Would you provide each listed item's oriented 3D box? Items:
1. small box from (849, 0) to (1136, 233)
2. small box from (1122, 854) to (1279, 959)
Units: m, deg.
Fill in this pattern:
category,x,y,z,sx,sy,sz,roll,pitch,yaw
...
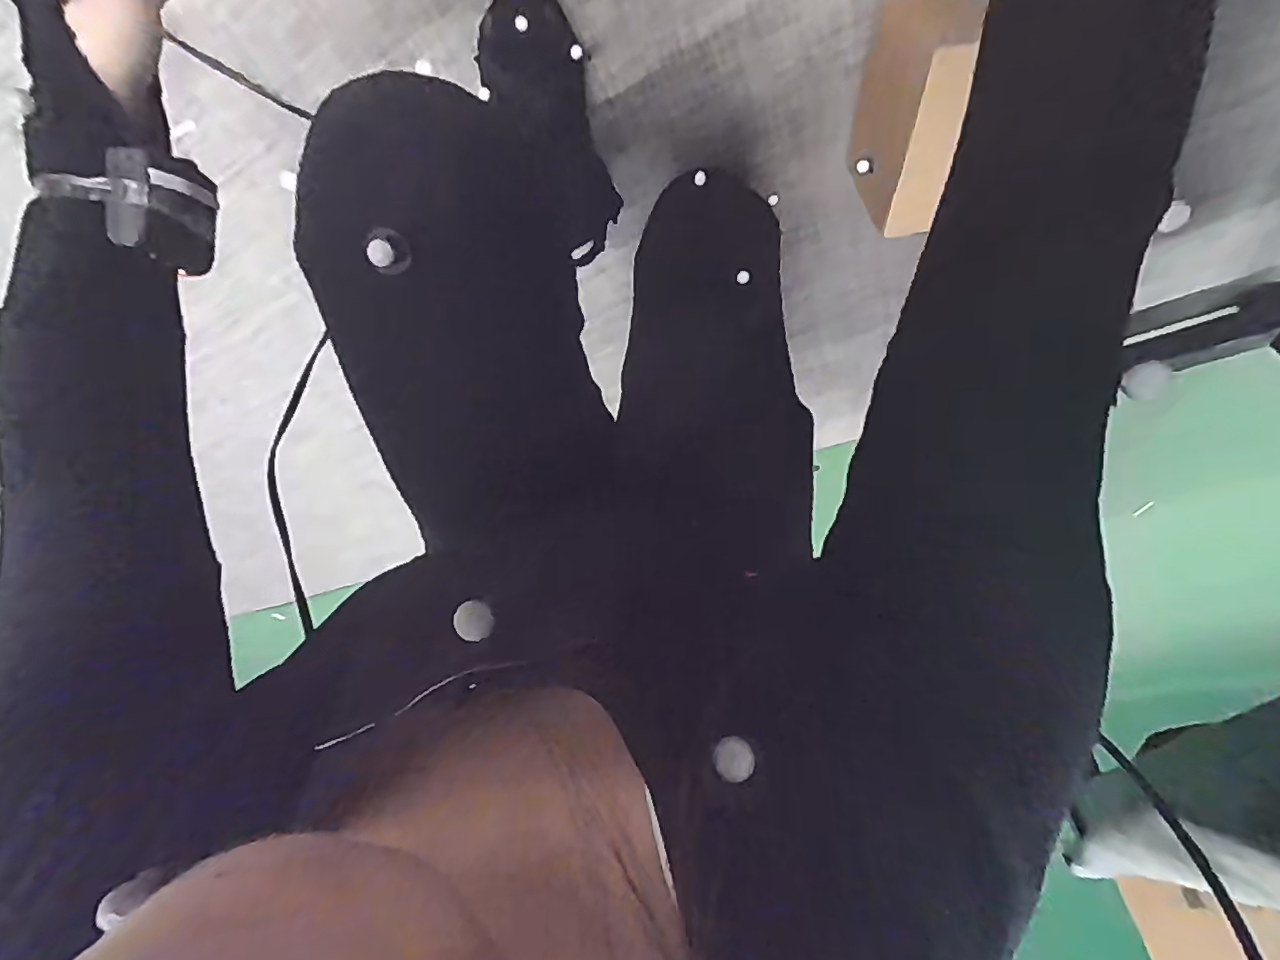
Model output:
category,x,y,z,sx,sy,sz,roll,pitch,yaw
small box,0.329,-0.388,0.556,0.168,0.176,0.179,-5,145,3
small box,0.557,0.403,0.433,0.179,0.176,0.168,10,142,-18
